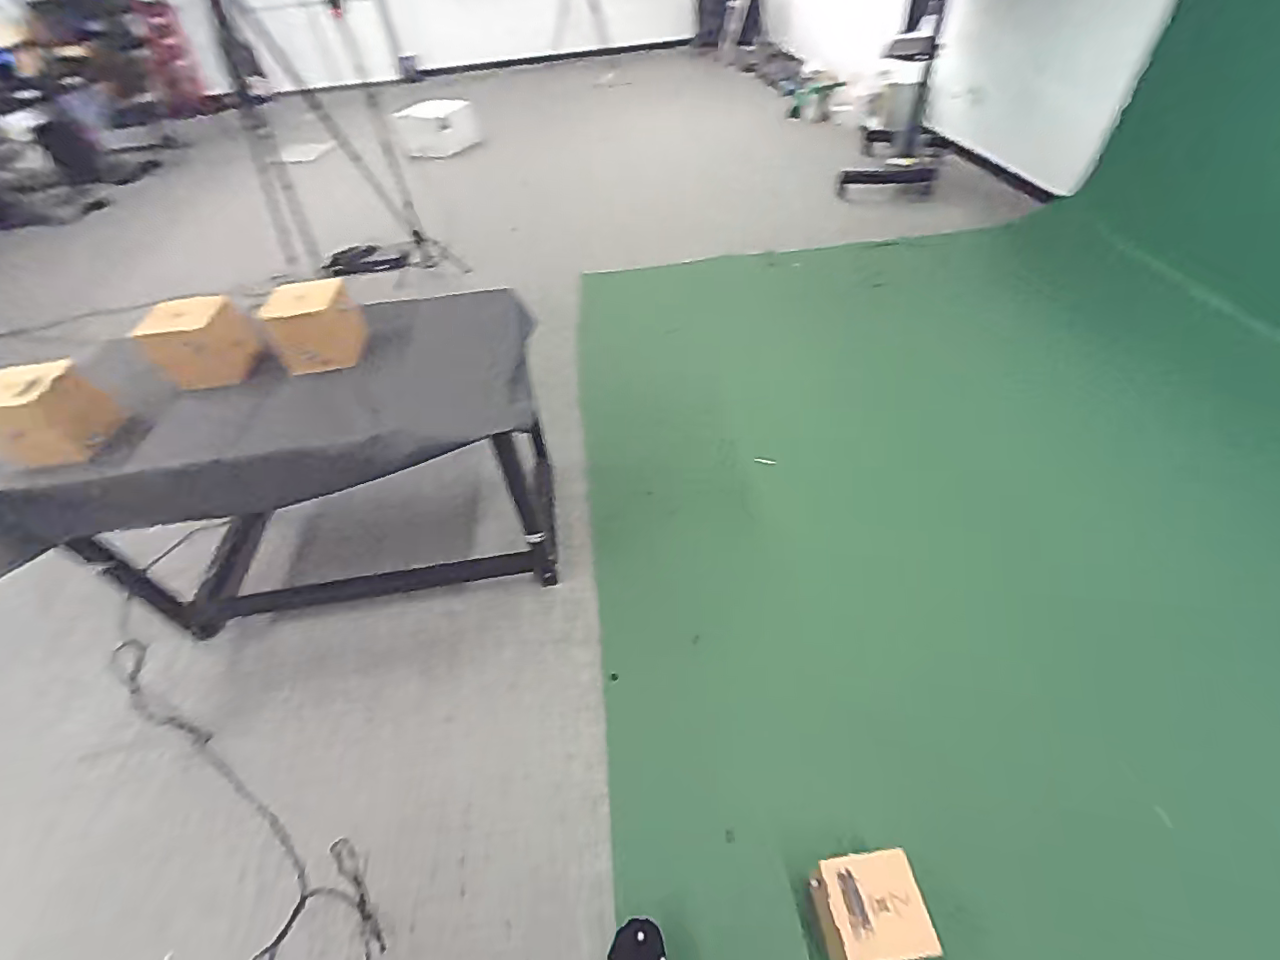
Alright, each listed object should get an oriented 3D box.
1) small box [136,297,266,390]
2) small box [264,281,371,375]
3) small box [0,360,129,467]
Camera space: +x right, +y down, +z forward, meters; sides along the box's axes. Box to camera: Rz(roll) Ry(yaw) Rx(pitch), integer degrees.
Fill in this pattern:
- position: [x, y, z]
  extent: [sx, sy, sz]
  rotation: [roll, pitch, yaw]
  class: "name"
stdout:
- position: [-1.123, -0.352, 1.404]
  extent: [0.179, 0.176, 0.168]
  rotation: [-6, 47, -1]
  class: "small box"
- position: [-0.839, -0.401, 1.430]
  extent: [0.168, 0.176, 0.179]
  rotation: [-8, 47, -3]
  class: "small box"
- position: [-1.343, -0.150, 1.231]
  extent: [0.179, 0.176, 0.168]
  rotation: [-8, 46, -2]
  class: "small box"
